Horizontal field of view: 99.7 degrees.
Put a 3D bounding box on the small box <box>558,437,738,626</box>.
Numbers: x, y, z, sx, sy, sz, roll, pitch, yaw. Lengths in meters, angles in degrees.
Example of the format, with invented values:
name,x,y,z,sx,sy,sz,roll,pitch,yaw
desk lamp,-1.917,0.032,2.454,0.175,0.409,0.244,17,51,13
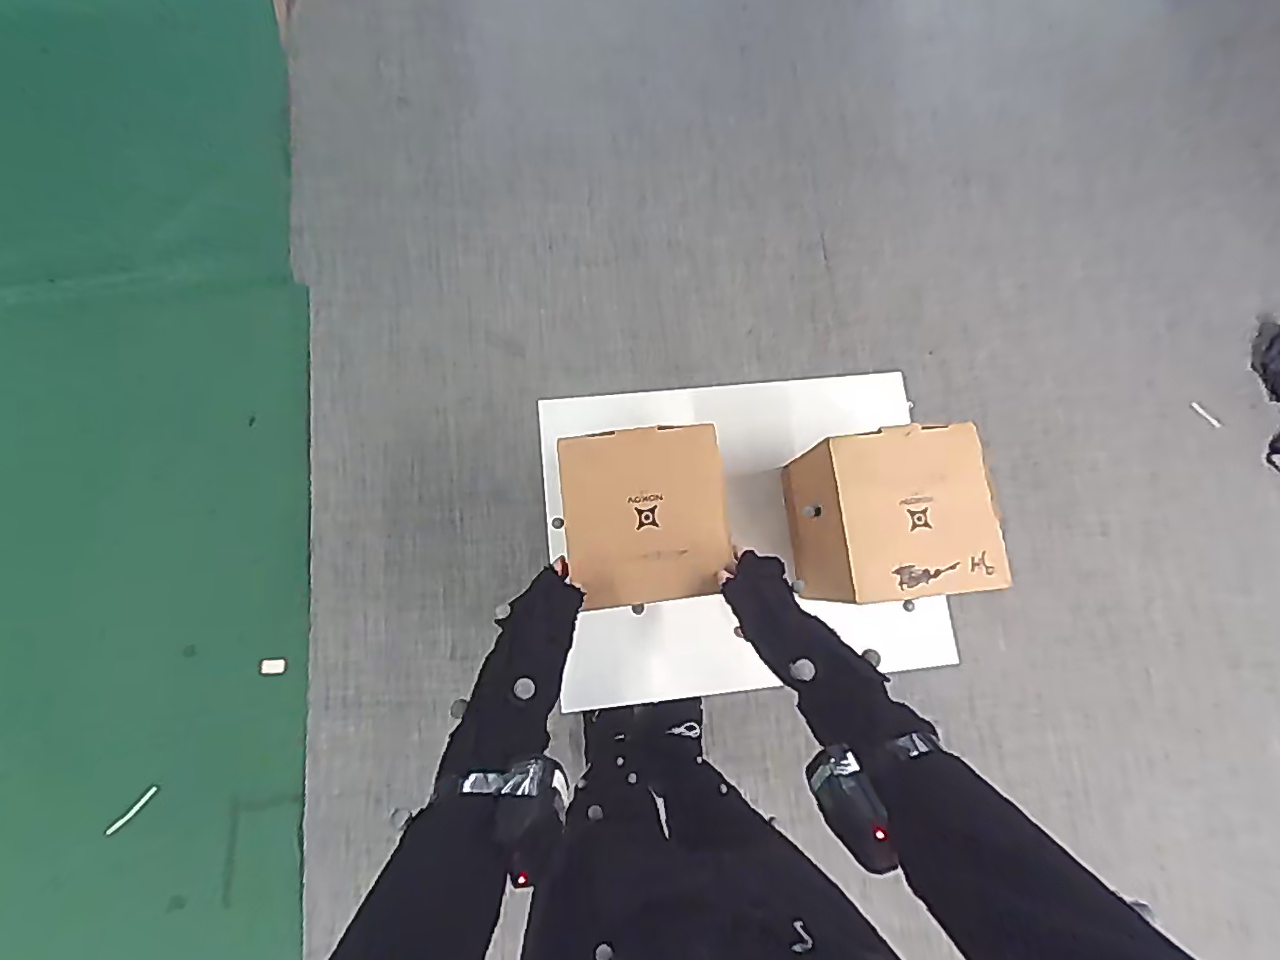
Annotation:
name,x,y,z,sx,sy,sz,roll,pitch,yaw
small box,0.001,0.063,0.621,0.168,0.176,0.179,-8,81,-4

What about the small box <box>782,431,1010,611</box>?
name,x,y,z,sx,sy,sz,roll,pitch,yaw
small box,0.279,0.056,0.635,0.168,0.176,0.179,-7,78,-4
